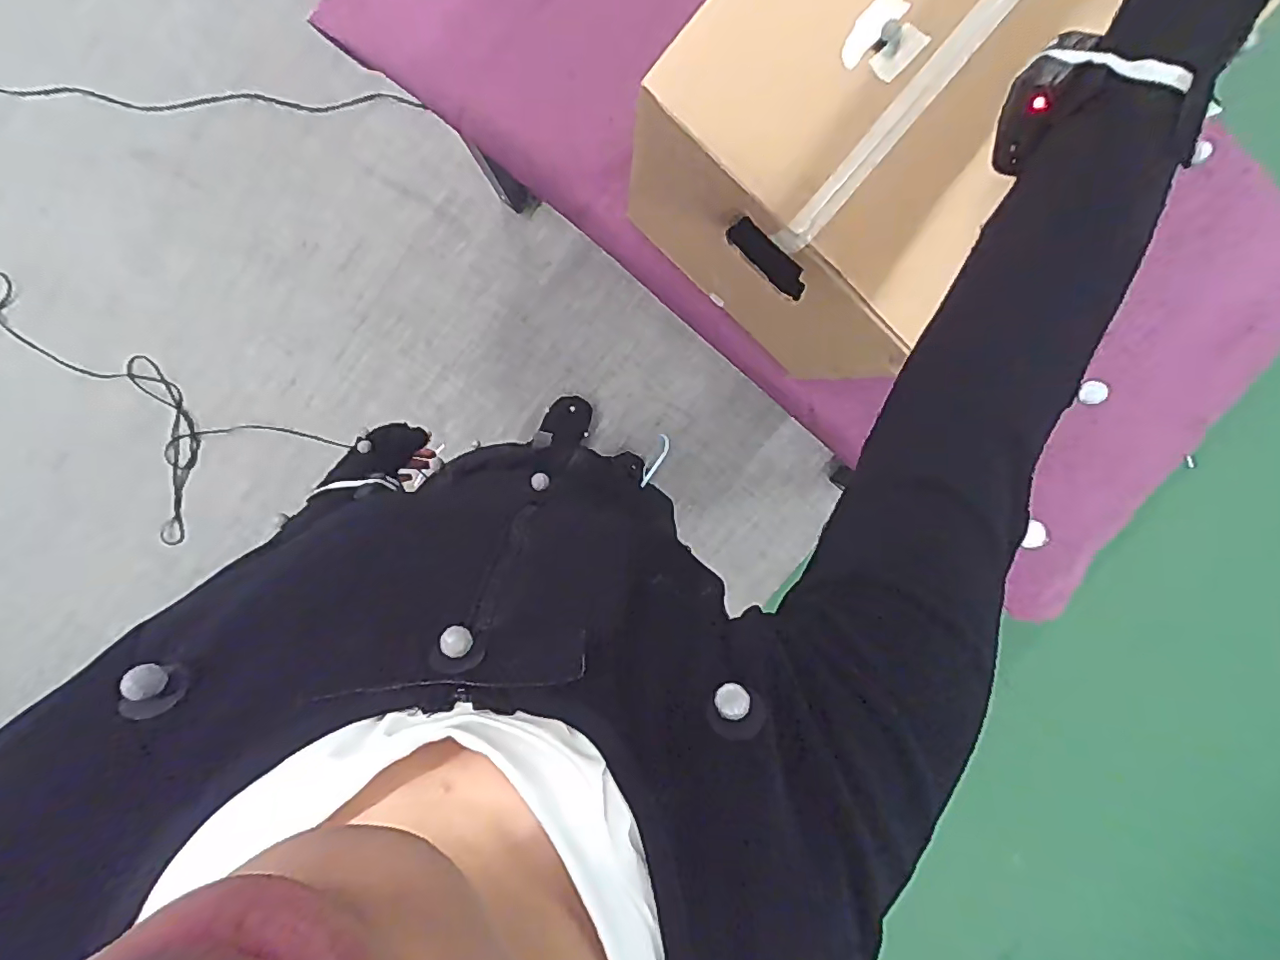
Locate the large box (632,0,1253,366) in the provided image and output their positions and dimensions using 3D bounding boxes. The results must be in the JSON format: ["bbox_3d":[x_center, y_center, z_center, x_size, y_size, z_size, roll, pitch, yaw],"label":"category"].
[{"bbox_3d":[0.238,-0.369,0.554,0.320,0.320,0.408,41,96,-9],"label":"large box"}]
